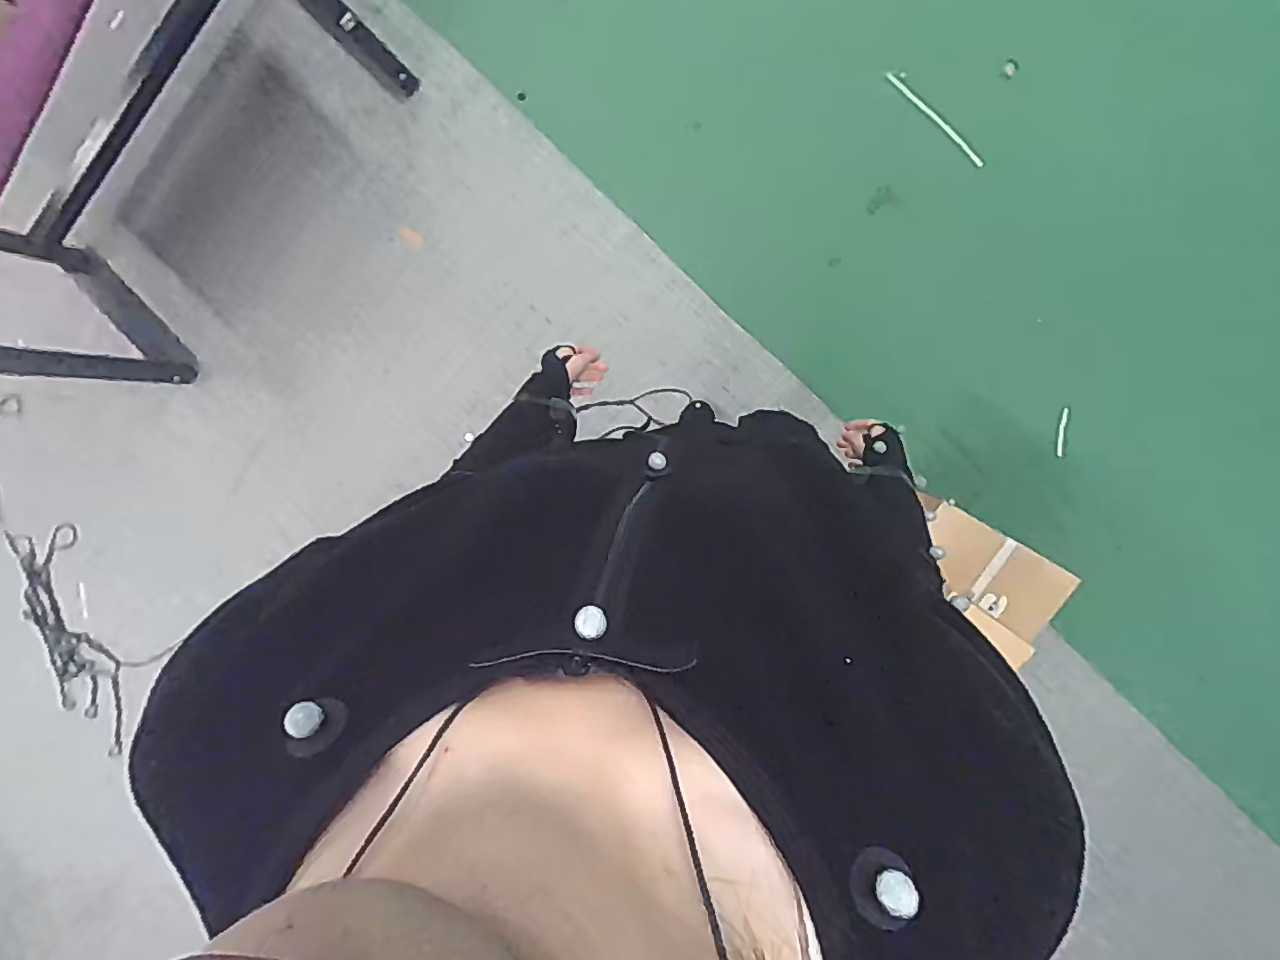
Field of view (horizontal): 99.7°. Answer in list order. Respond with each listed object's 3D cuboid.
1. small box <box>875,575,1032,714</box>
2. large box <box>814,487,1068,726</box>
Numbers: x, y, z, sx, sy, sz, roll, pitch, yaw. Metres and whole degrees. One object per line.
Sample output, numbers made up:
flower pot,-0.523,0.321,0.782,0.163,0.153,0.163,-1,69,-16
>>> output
small box,0.592,0.305,1.051,0.179,0.176,0.168,37,102,4
large box,0.671,0.273,1.287,0.320,0.320,0.408,31,99,4
